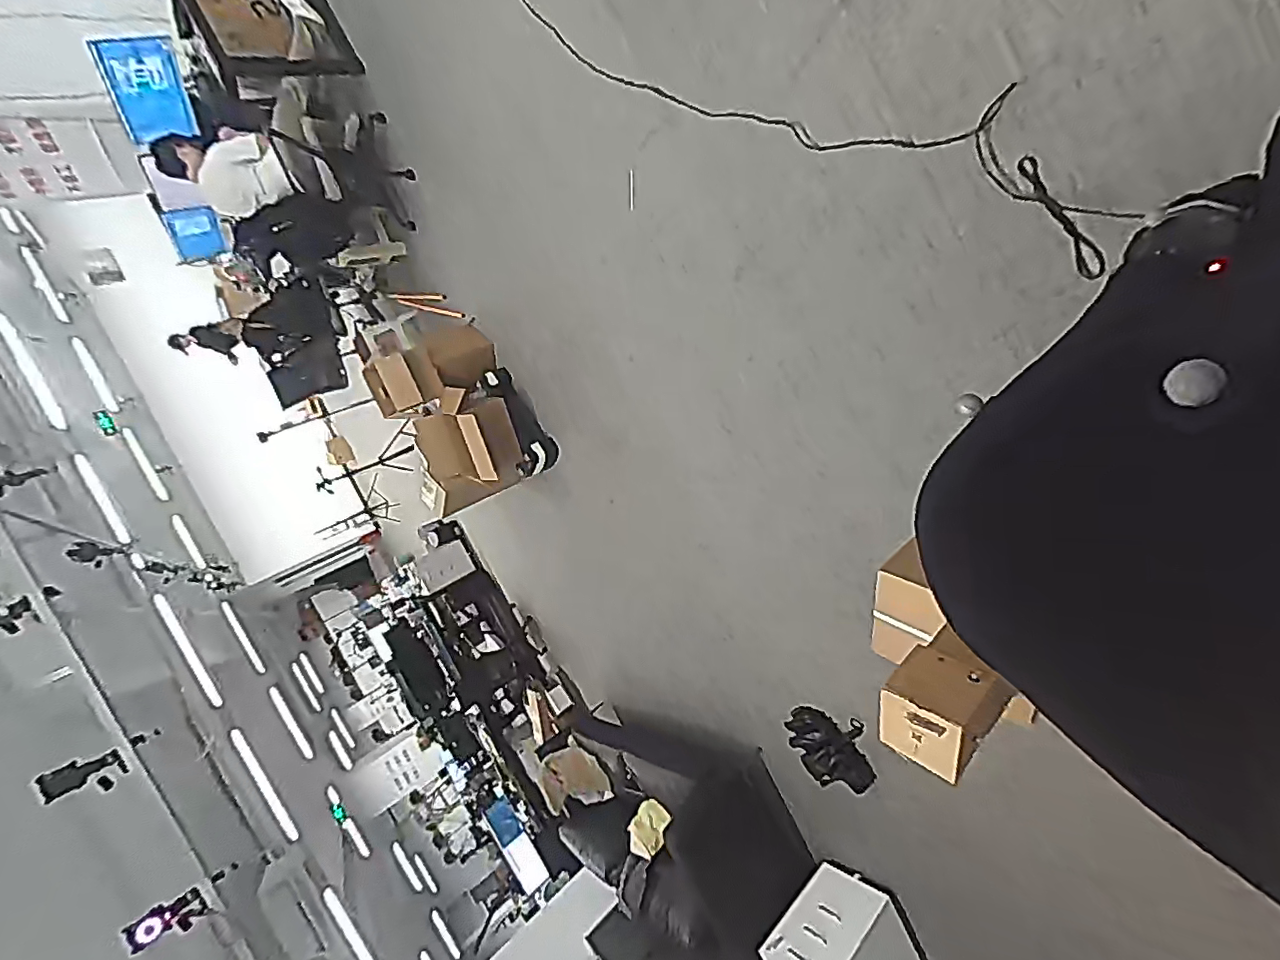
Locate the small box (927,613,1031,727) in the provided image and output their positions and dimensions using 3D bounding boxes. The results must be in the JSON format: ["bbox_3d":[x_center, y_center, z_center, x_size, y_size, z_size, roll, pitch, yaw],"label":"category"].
[{"bbox_3d":[0.782,0.450,1.269,0.168,0.176,0.179,25,131,44],"label":"small box"}]

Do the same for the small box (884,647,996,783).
[{"bbox_3d":[0.654,0.500,1.179,0.168,0.176,0.179,16,125,49],"label":"small box"}]
